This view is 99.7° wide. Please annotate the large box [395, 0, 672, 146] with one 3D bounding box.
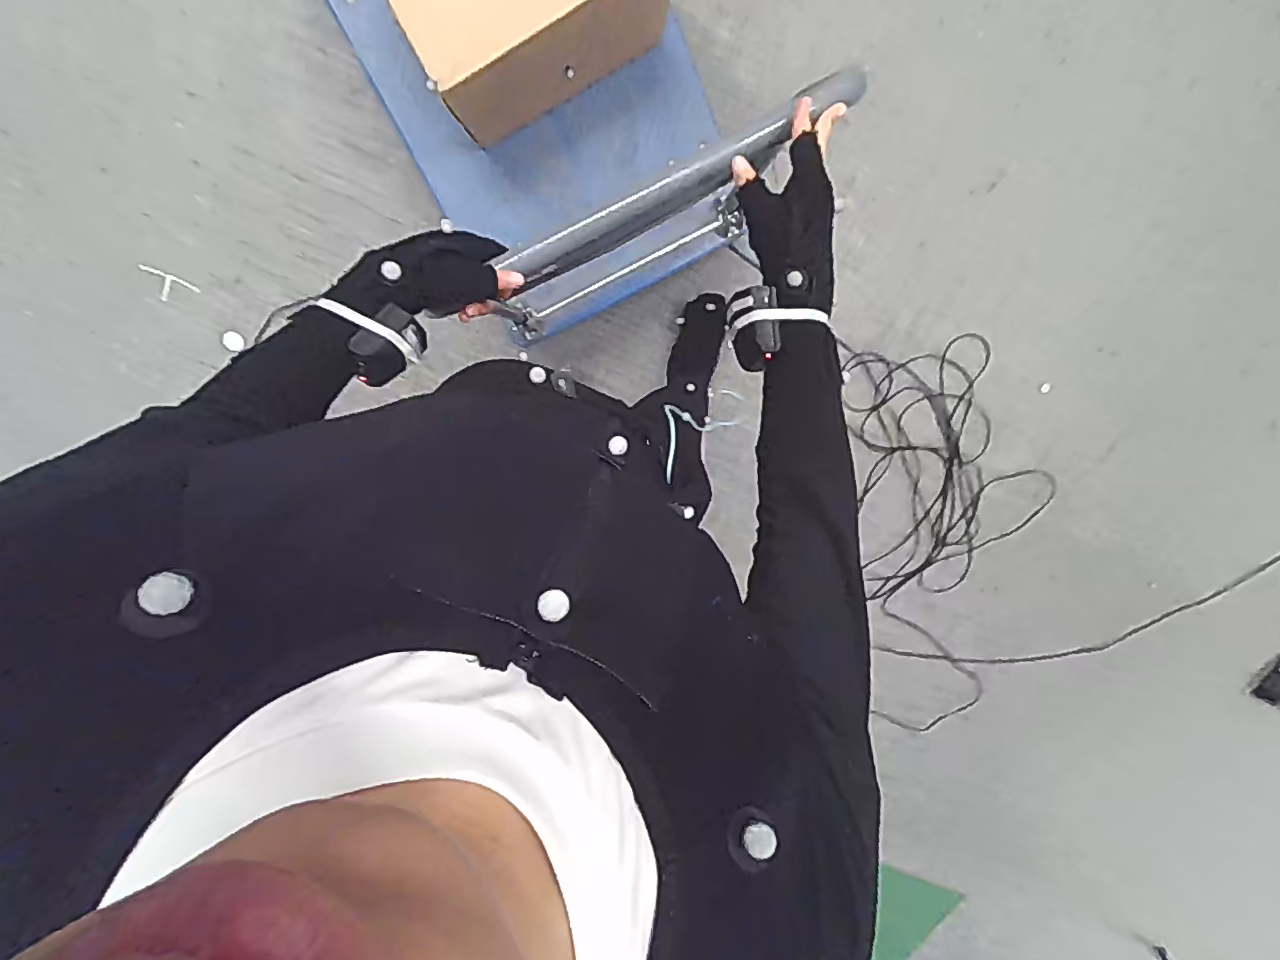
[{"bbox_3d":[-0.187,-0.834,0.875,0.408,0.320,0.320,-29,107,7],"label":"large box"}]
